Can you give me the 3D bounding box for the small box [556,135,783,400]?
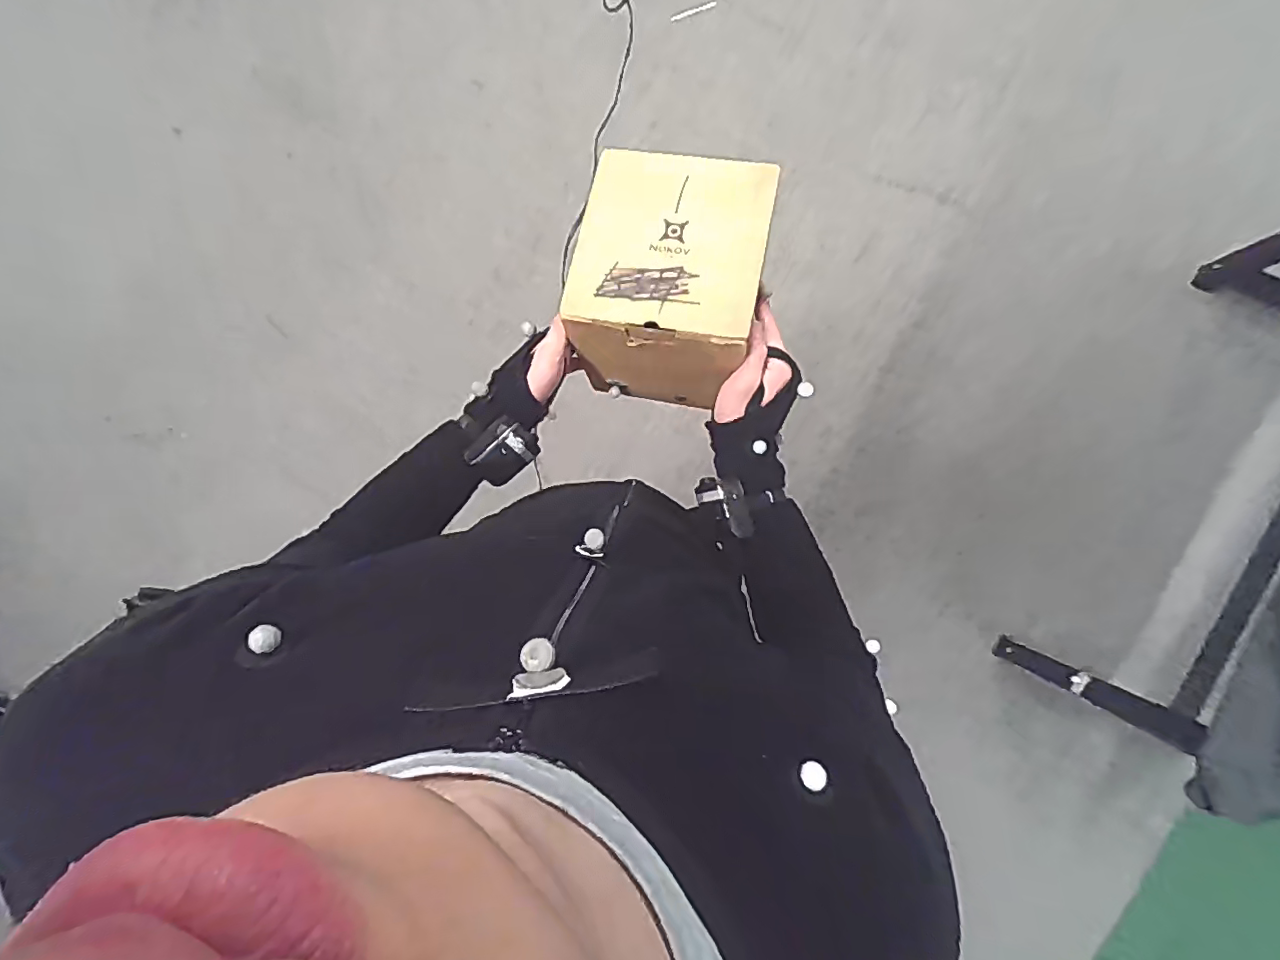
[{"bbox_3d":[0.034,-0.195,0.535,0.168,0.176,0.179,11,79,8],"label":"small box"}]
